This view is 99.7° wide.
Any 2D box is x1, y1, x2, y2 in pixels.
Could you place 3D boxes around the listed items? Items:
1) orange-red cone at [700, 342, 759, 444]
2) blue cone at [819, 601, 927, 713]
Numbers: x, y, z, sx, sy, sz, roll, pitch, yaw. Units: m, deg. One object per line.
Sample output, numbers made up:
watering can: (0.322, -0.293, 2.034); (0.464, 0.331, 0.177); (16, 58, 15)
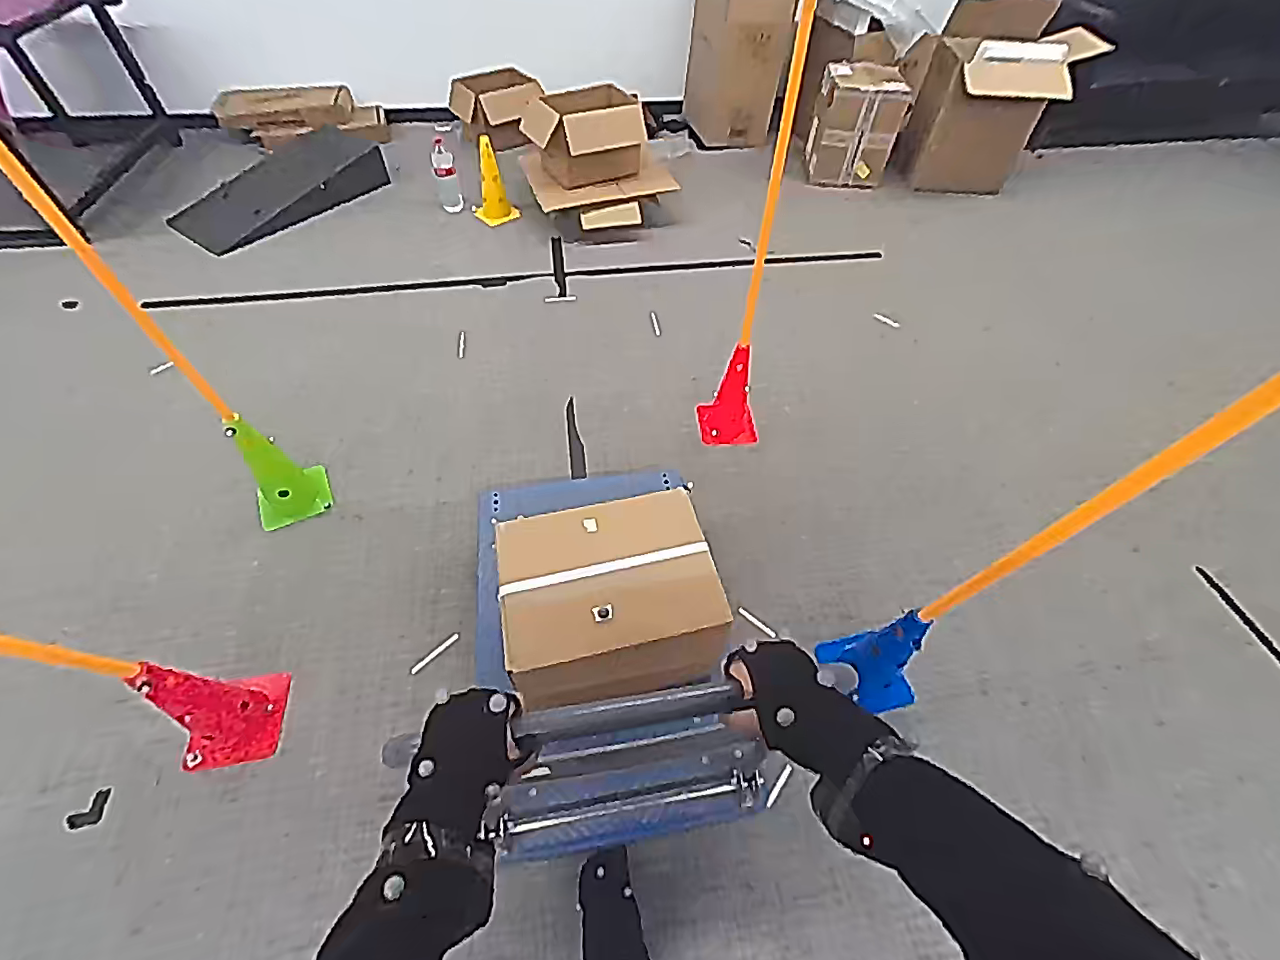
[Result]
orange-red cone: (0.324, -0.307, 1.797); (0.199, 0.360, 0.198); (0, 53, -4)
blue cone: (0.589, 0.396, 1.282); (0.193, 0.380, 0.192); (-9, 52, -9)
